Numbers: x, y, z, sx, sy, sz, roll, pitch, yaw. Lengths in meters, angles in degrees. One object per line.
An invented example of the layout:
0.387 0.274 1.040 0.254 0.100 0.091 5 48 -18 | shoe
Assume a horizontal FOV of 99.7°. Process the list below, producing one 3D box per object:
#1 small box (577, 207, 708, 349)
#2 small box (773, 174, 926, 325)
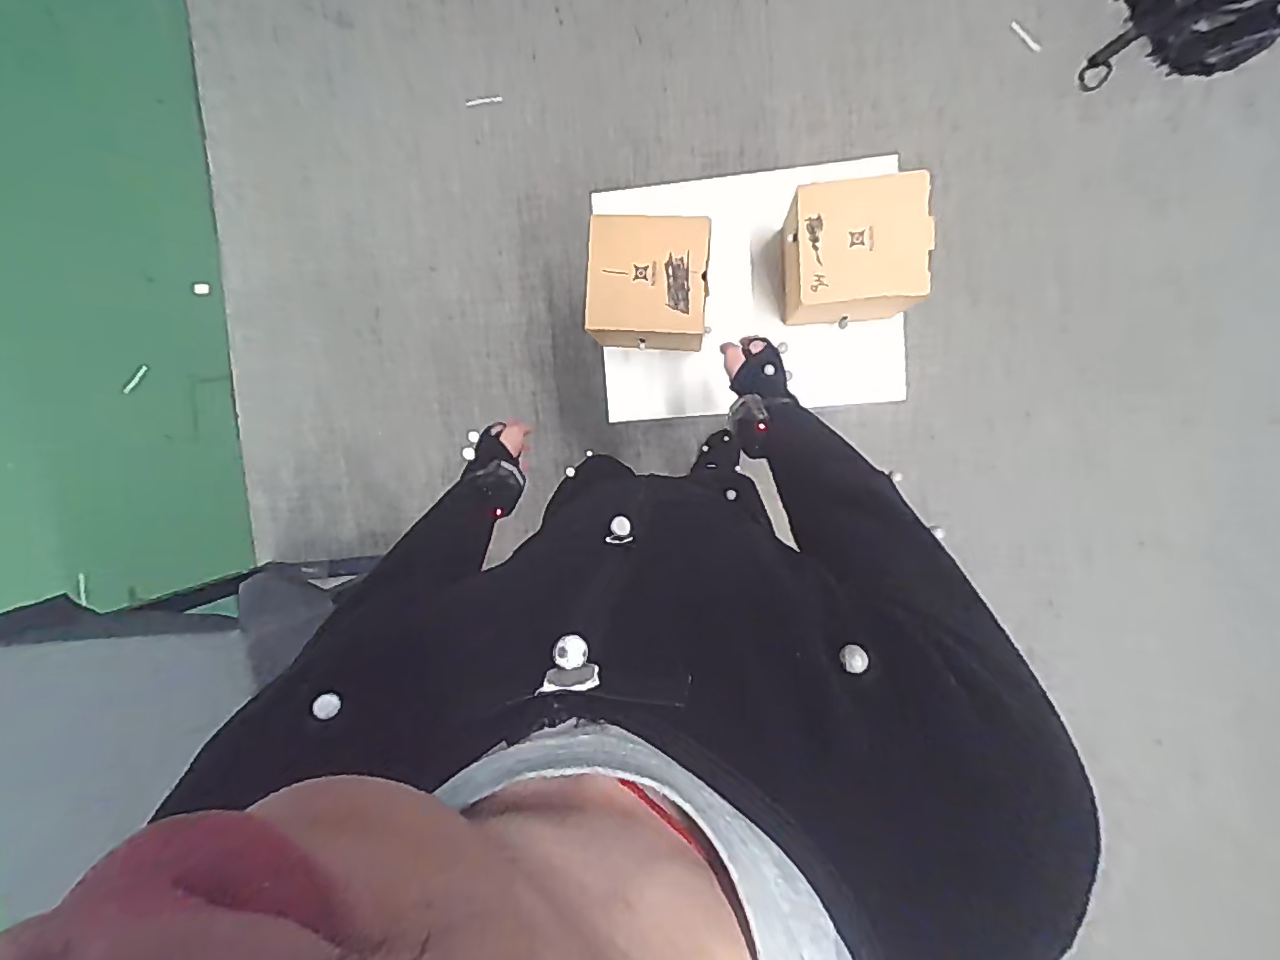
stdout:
0.007 -0.302 0.840 0.179 0.176 0.168 5 95 4 | small box
0.305 -0.335 0.815 0.179 0.176 0.168 -2 95 5 | small box
